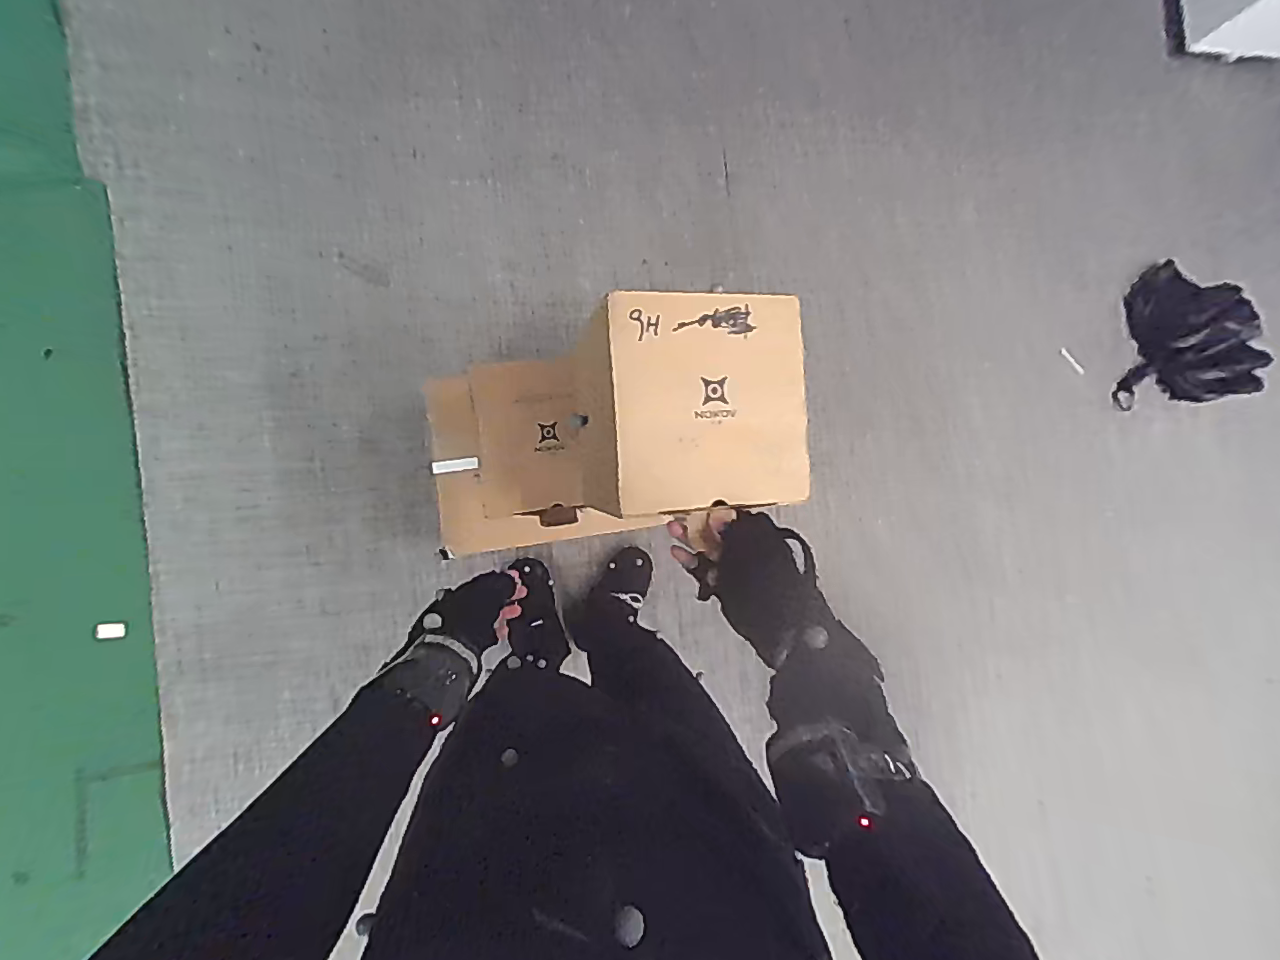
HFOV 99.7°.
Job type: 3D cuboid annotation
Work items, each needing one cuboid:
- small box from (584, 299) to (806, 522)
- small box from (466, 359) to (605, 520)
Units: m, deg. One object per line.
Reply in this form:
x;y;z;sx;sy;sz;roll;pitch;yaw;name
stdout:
0.042;-0.061;0.518;0.168;0.176;0.179;-3;93;-15;small box
-0.123;-0.053;0.703;0.168;0.176;0.179;-8;94;-12;small box
